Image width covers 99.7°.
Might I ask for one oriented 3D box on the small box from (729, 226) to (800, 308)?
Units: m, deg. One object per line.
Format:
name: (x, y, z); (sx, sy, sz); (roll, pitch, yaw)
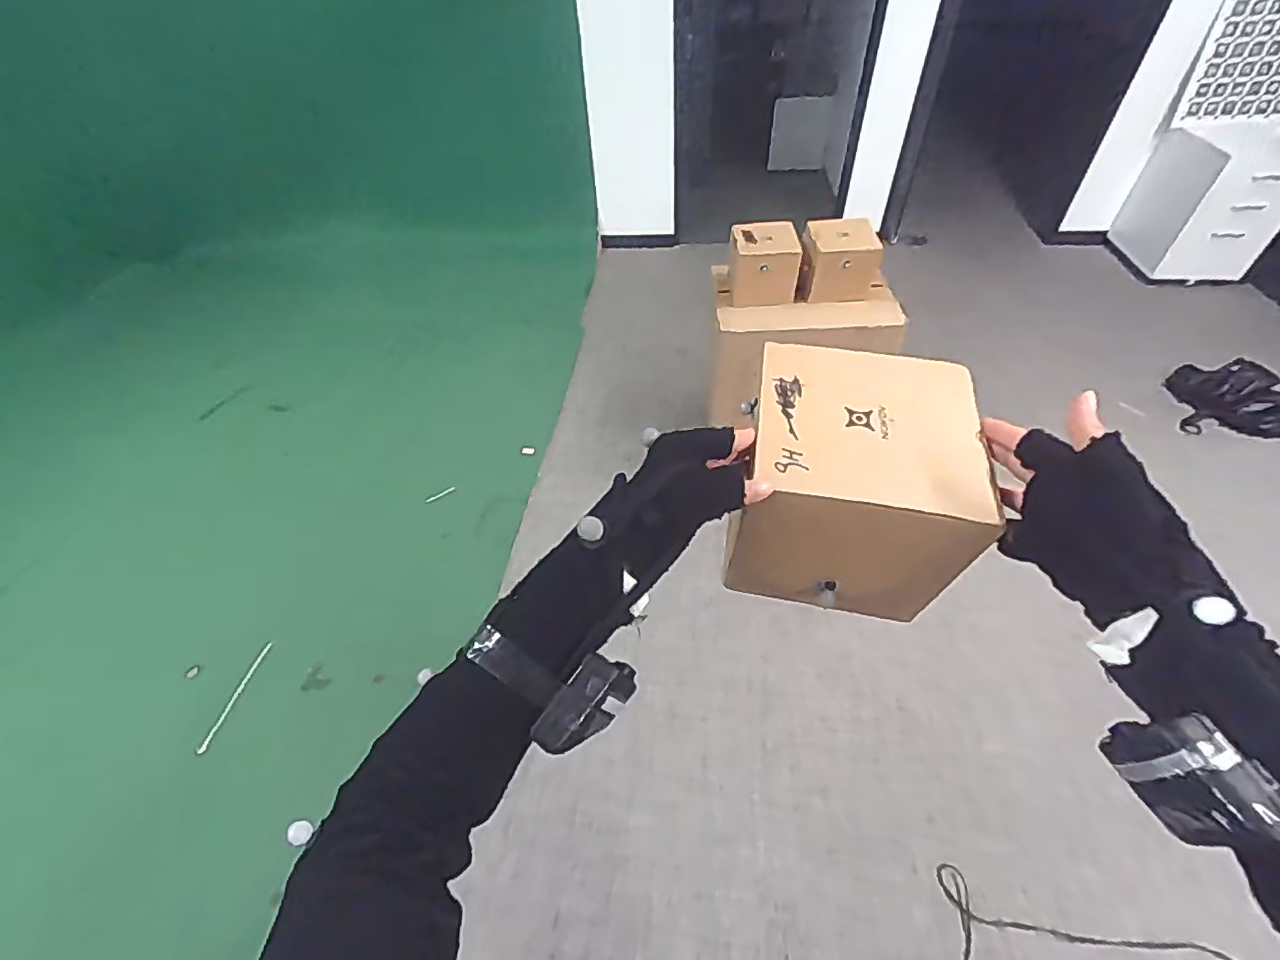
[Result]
small box: (0.358, -0.625, 1.593); (0.179, 0.176, 0.168); (-2, 53, 1)

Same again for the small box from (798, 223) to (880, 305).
small box: (0.572, -0.631, 1.588); (0.179, 0.176, 0.168); (-2, 53, -1)

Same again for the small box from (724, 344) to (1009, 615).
small box: (0.182, 0.005, 0.490); (0.179, 0.176, 0.168); (9, 51, 5)
